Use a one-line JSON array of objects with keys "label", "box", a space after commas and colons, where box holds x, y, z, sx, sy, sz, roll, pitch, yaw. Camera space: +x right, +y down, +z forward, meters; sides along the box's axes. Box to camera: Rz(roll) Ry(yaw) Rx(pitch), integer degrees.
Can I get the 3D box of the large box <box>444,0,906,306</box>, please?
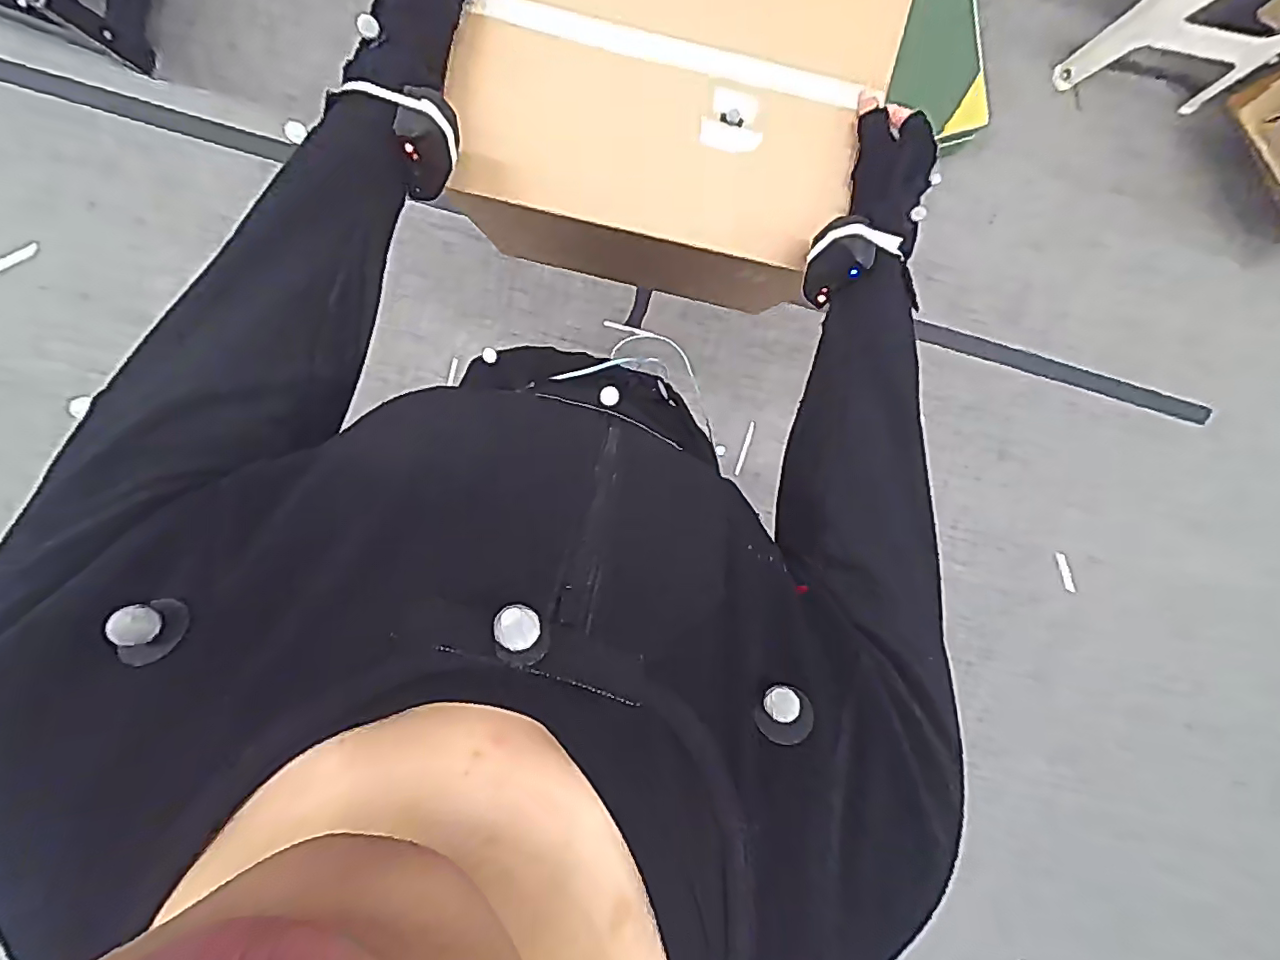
[{"label": "large box", "box": [0.027, -0.424, 0.650, 0.408, 0.320, 0.320, 12, 101, -5]}]
